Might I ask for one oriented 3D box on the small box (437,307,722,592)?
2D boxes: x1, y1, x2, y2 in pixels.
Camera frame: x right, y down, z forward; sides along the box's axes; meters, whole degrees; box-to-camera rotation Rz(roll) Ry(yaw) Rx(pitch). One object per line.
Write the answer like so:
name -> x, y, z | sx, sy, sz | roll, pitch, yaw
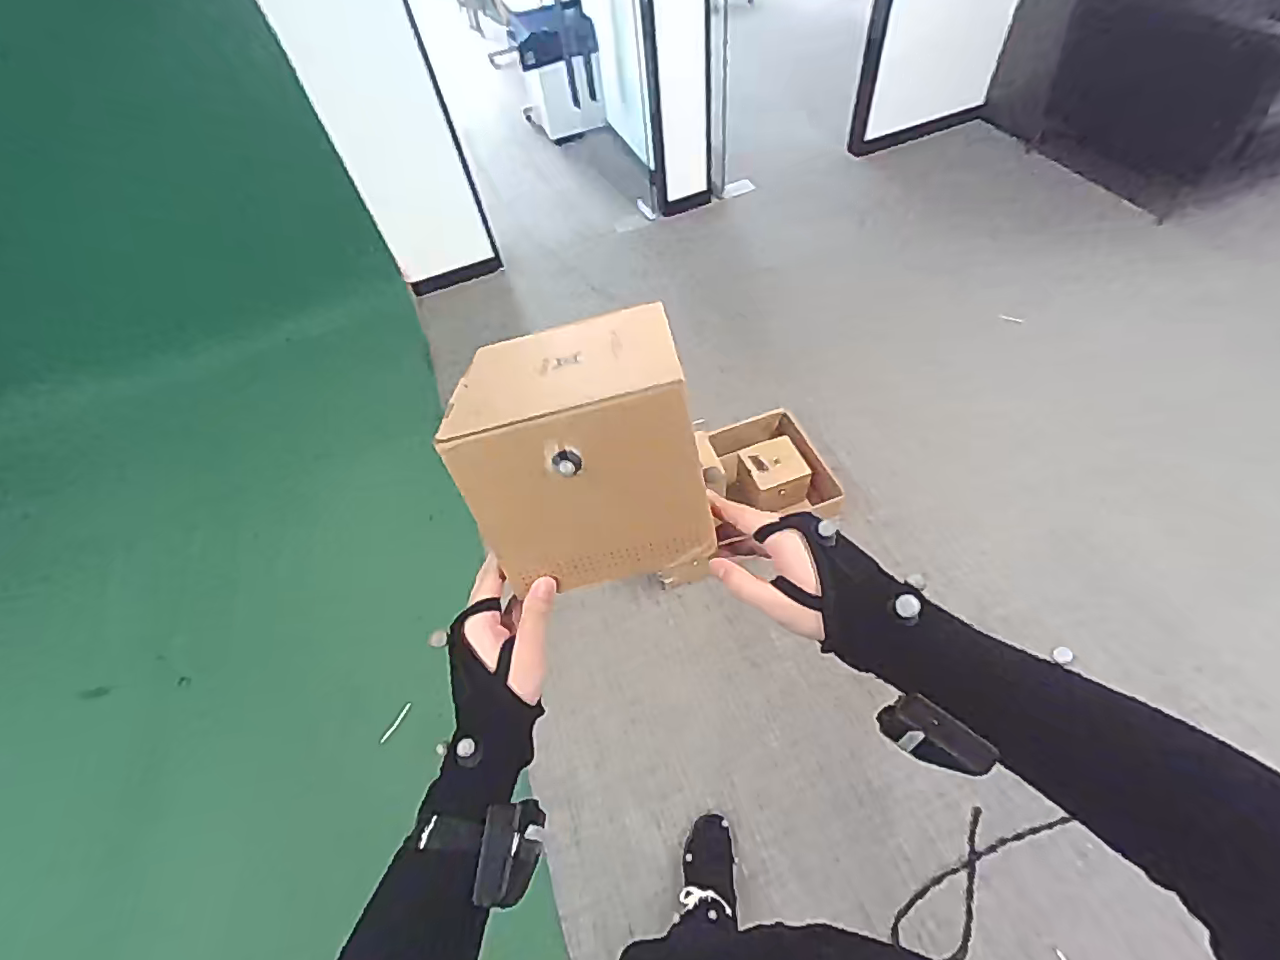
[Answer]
small box -> -0.038, -0.025, 0.466 | 0.179, 0.176, 0.168 | -12, 35, 6
